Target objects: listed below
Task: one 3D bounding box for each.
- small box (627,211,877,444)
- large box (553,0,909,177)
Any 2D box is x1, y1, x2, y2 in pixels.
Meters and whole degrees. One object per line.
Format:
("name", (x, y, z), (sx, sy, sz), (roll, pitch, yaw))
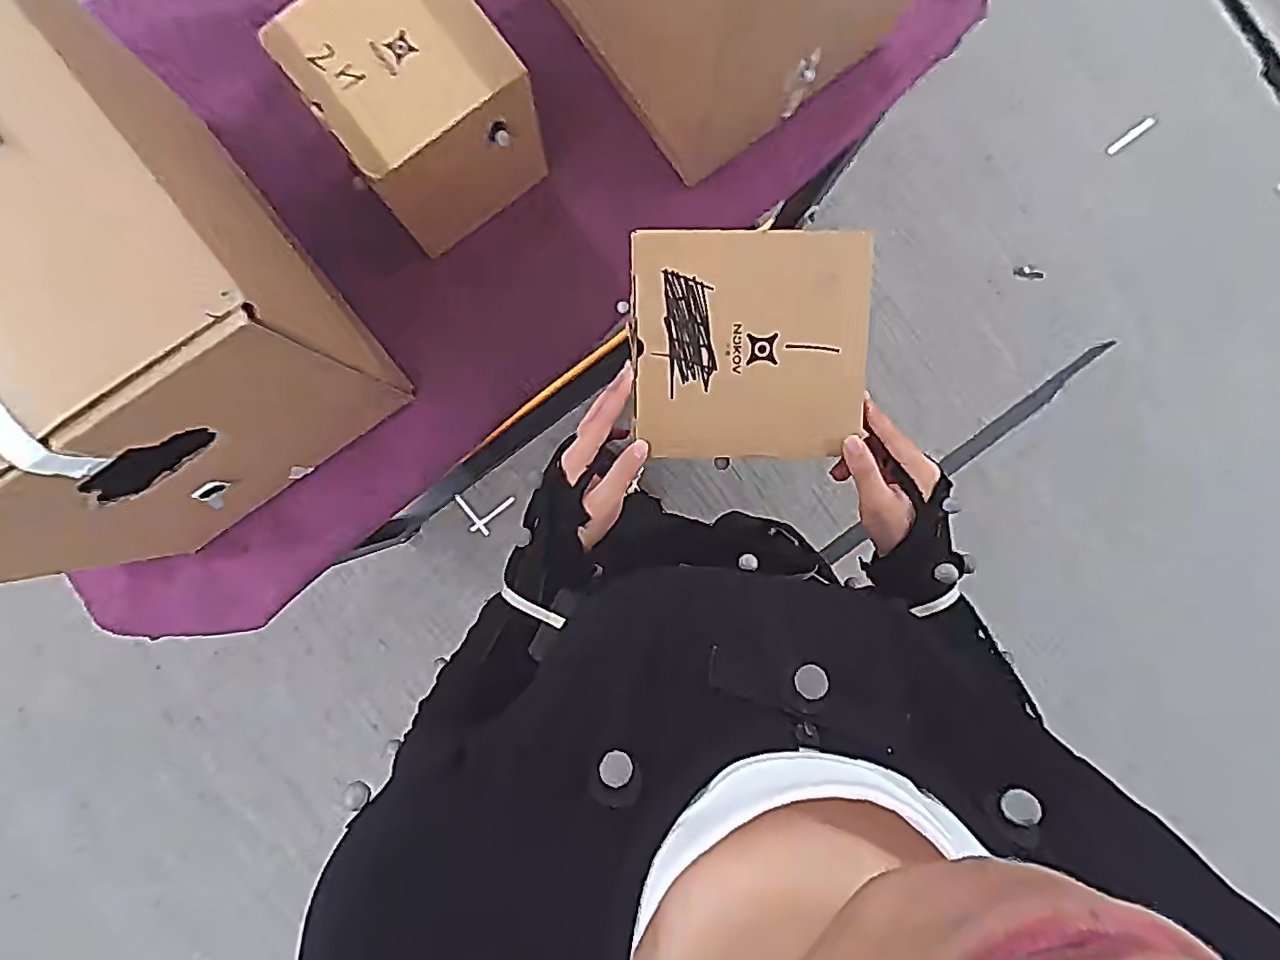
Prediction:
("small box", (0.078, -0.118, 0.467), (0.179, 0.176, 0.168), (-1, 99, -2))
("large box", (0.067, -0.598, 0.493), (0.320, 0.320, 0.408), (-38, 91, -3))
